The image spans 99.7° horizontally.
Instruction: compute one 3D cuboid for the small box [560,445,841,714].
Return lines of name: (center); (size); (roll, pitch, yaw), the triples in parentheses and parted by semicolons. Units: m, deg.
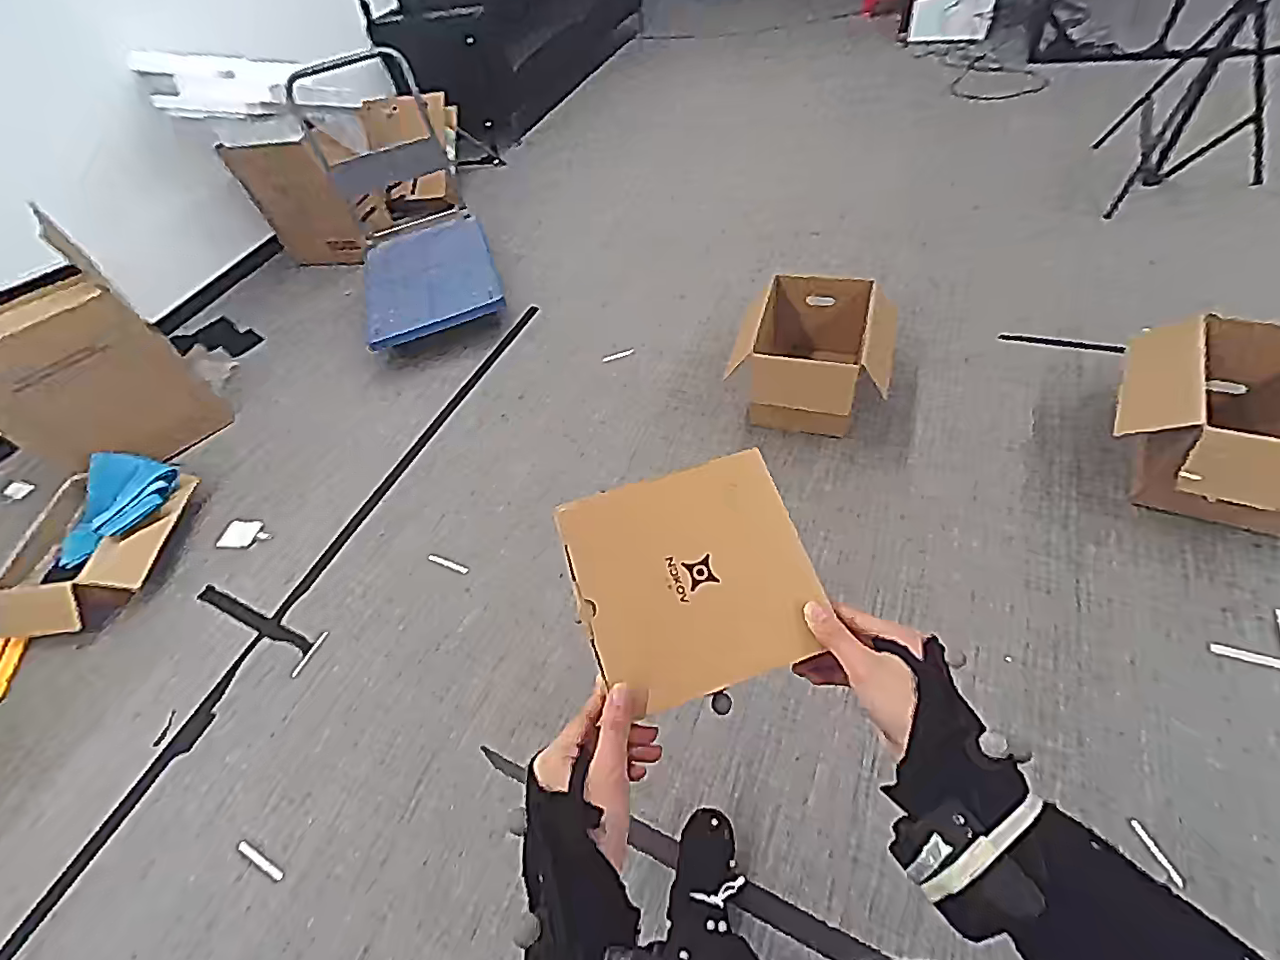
small box: (0.040, 0.094, 0.482); (0.179, 0.176, 0.168); (-17, 69, -7)
